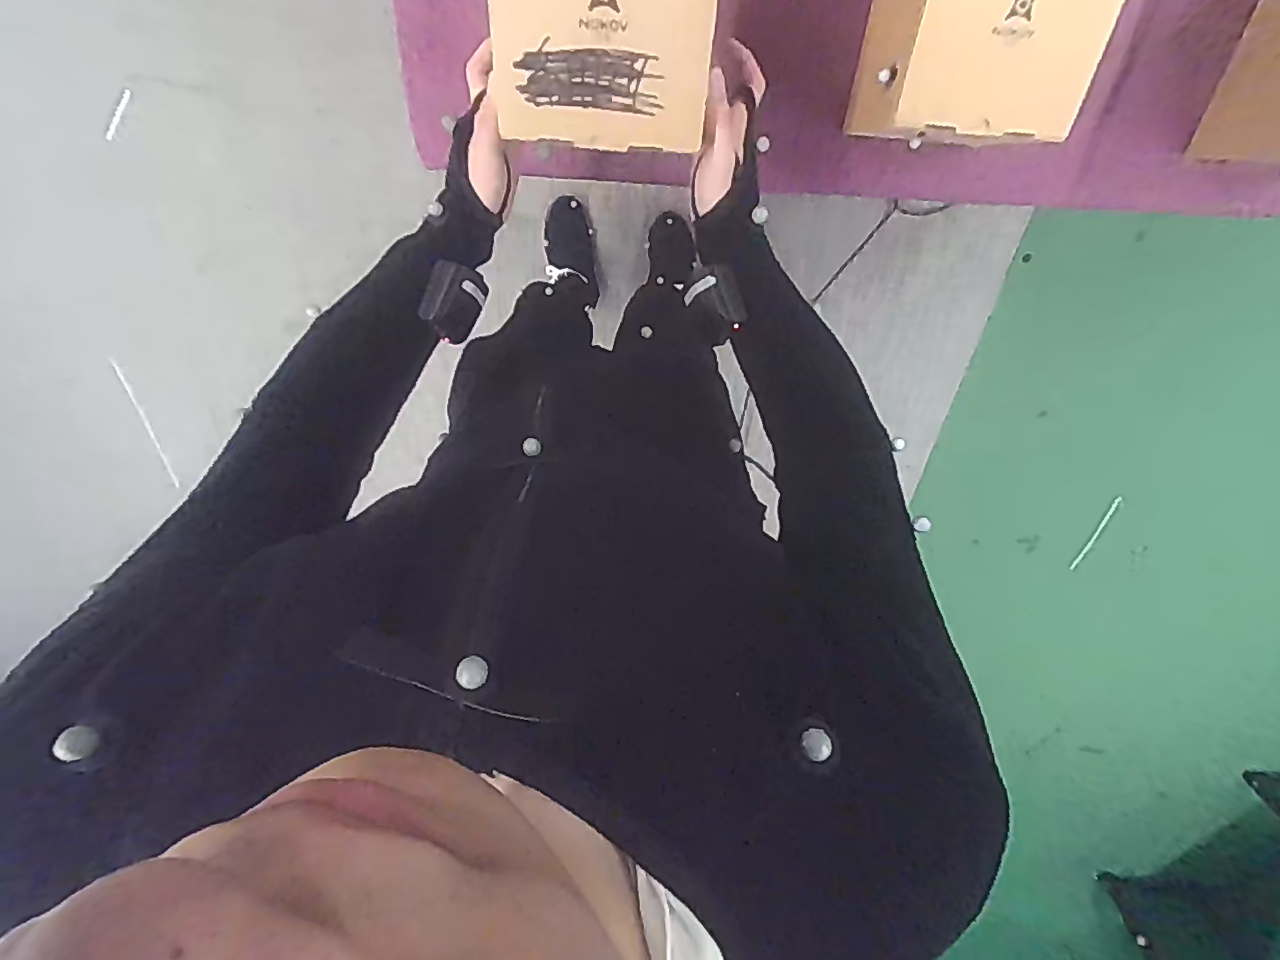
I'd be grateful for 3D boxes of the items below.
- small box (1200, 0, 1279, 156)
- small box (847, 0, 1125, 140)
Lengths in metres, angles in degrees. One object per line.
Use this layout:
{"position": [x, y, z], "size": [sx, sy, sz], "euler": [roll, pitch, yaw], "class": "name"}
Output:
{"position": [0.714, -0.407, 0.511], "size": [0.168, 0.176, 0.179], "euler": [3, 124, 2], "class": "small box"}
{"position": [0.317, -0.435, 0.515], "size": [0.168, 0.176, 0.179], "euler": [4, 122, -1], "class": "small box"}
